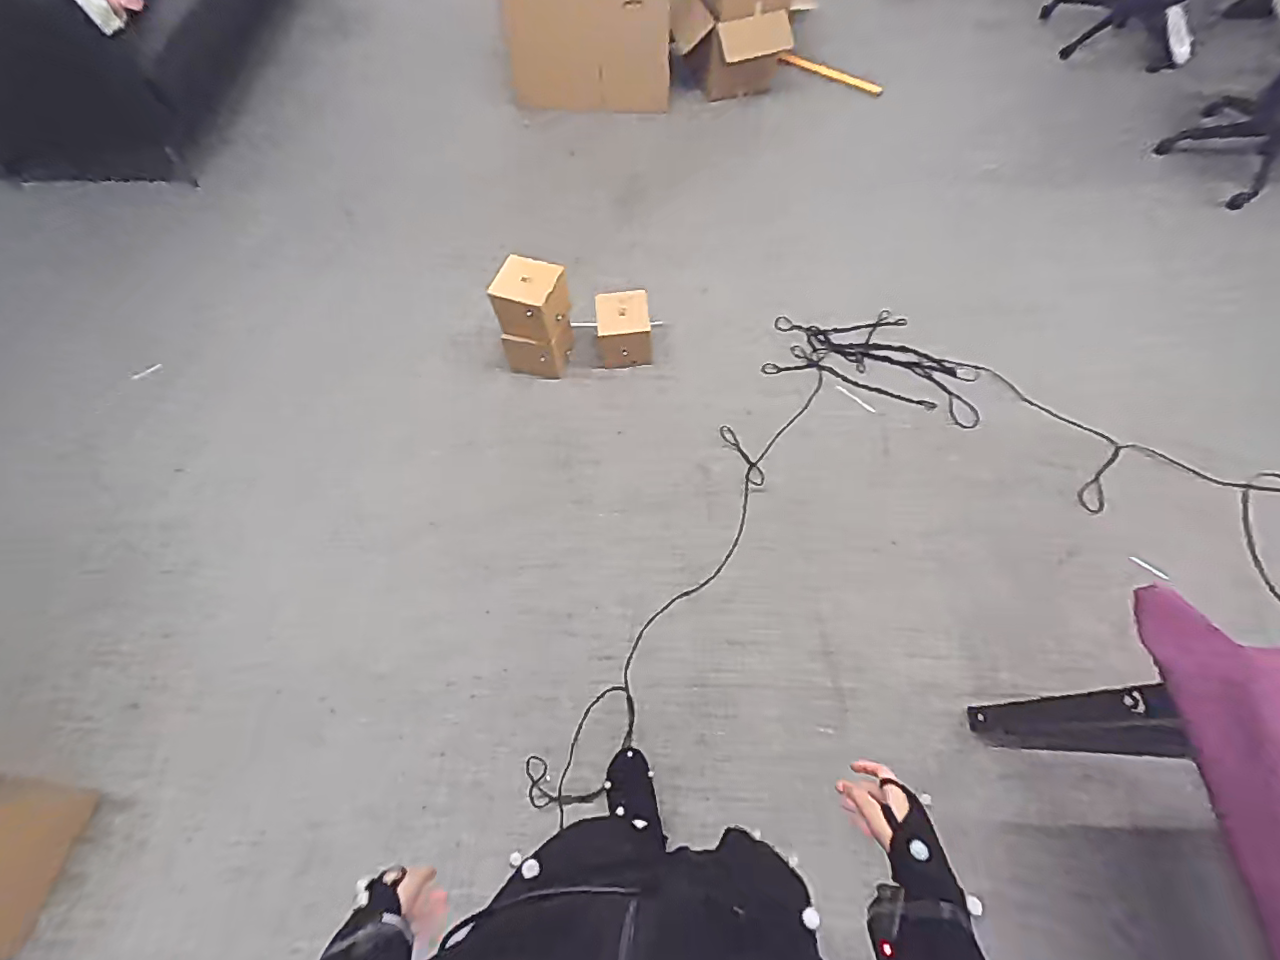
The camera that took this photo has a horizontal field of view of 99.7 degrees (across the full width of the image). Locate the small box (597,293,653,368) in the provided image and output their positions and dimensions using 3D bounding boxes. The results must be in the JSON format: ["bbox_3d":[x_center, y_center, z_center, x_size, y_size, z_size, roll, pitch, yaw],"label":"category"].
[{"bbox_3d":[-0.046,-0.483,1.775,0.168,0.176,0.179,-6,63,0],"label":"small box"}]

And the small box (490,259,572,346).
[{"bbox_3d":[-0.323,-0.533,1.636,0.179,0.176,0.168,17,65,10],"label":"small box"}]
